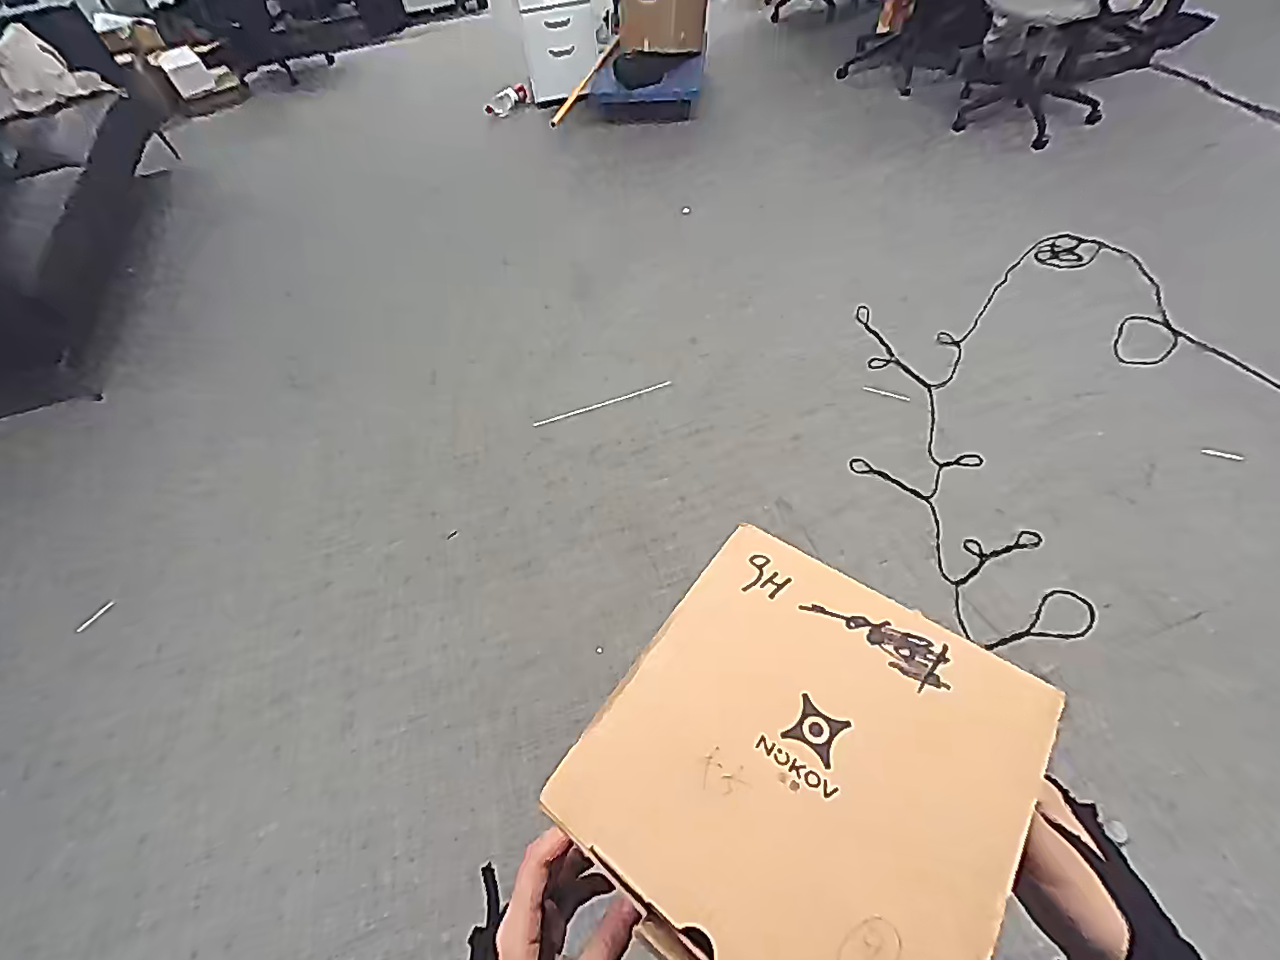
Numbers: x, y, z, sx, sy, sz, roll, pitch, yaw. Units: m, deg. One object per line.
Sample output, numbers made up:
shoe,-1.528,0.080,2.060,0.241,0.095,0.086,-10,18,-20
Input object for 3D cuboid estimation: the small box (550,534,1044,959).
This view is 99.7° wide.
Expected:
small box,0.081,0.172,0.310,0.168,0.176,0.179,28,60,25
